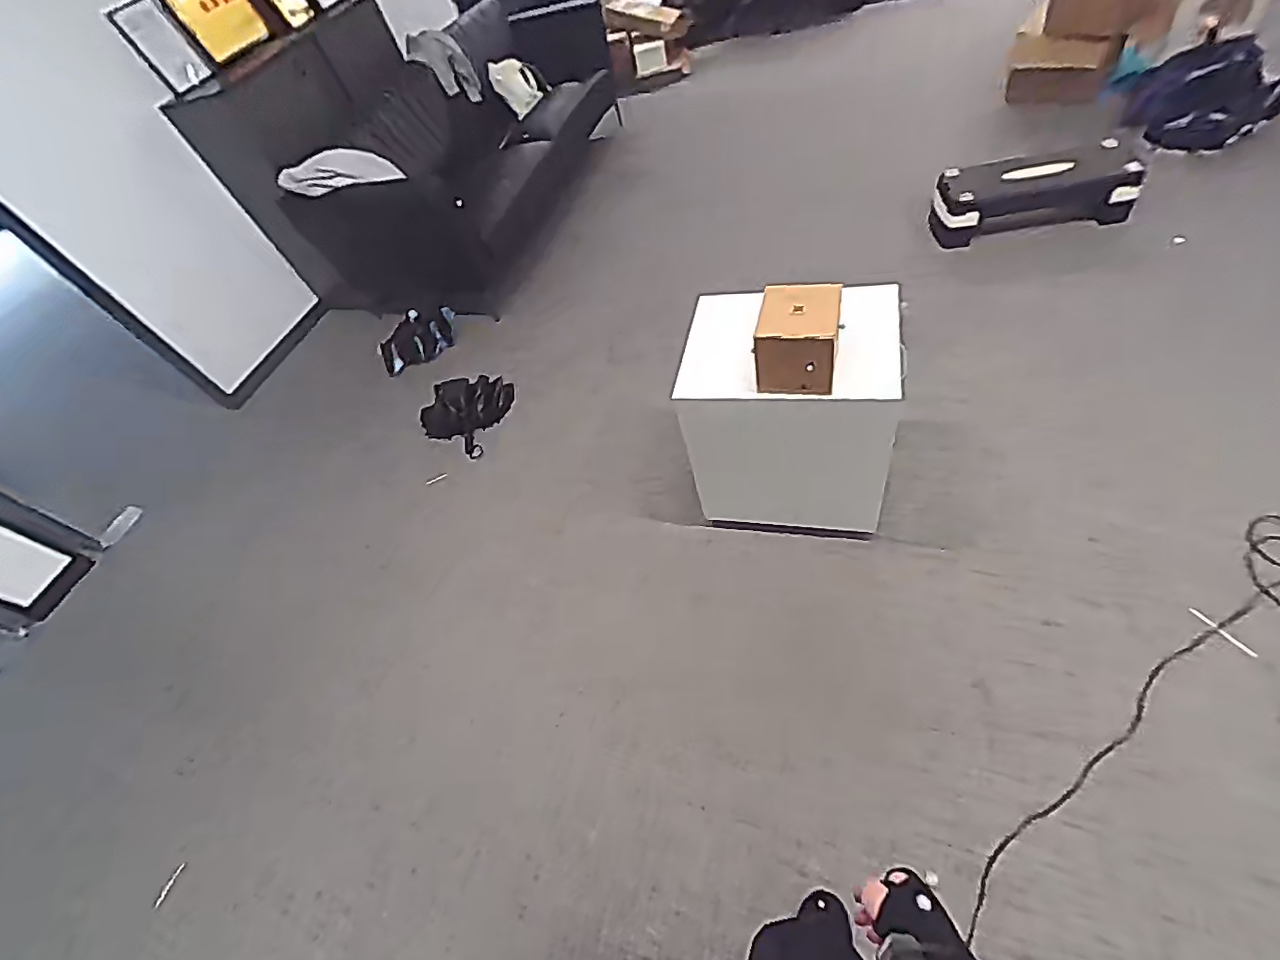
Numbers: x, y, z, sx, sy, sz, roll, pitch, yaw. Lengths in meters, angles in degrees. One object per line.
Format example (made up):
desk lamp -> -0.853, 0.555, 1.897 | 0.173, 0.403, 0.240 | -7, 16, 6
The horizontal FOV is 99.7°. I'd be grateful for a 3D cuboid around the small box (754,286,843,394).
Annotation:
small box -> 0.356, -0.310, 1.209 | 0.168, 0.176, 0.179 | 7, 54, 20
